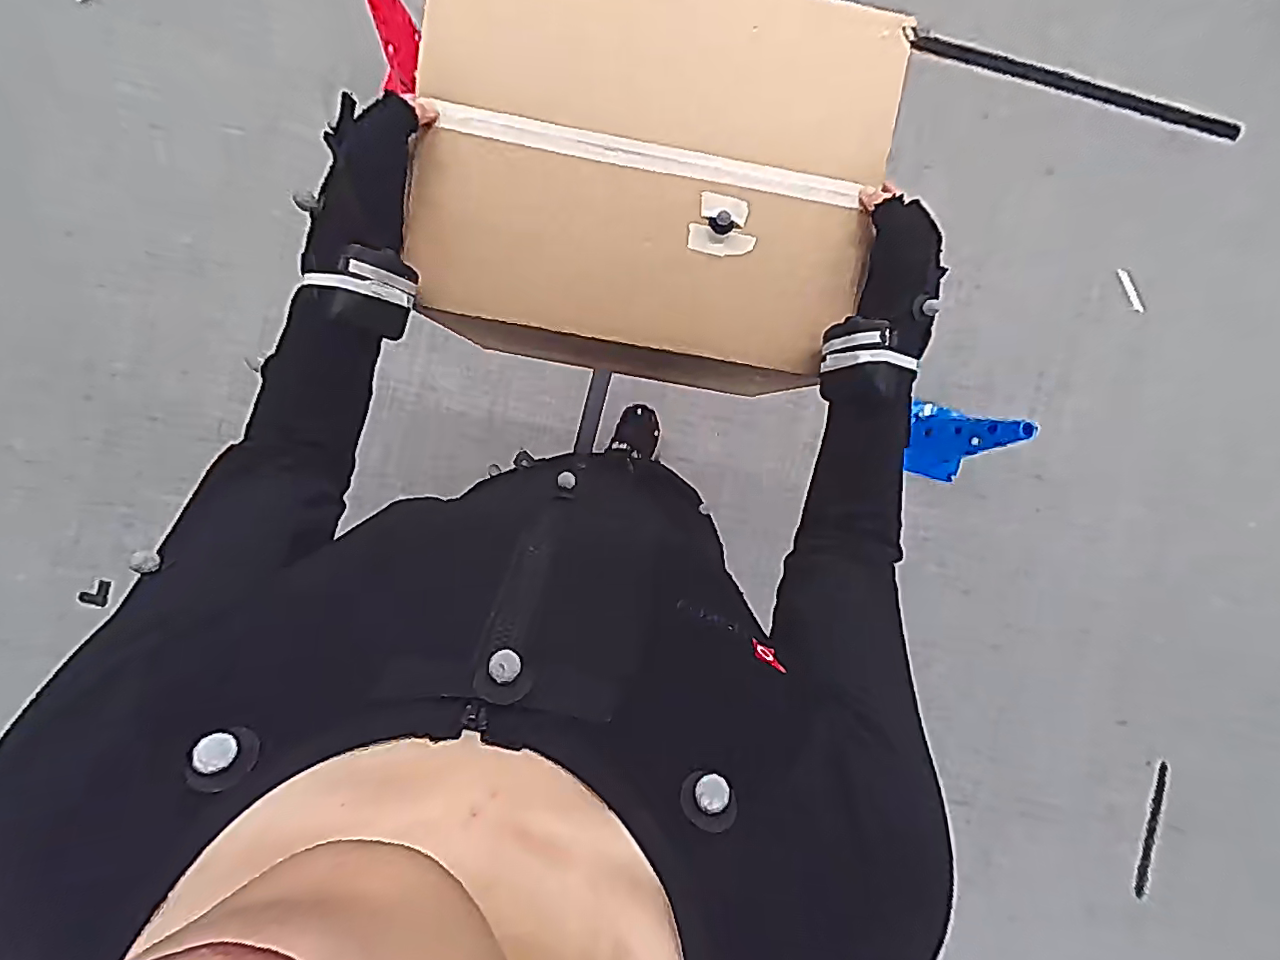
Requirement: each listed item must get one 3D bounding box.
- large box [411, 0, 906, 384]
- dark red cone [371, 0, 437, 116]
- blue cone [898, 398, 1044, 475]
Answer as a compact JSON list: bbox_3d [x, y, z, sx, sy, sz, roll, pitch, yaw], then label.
[{"bbox_3d":[0.006,-0.301,0.617,0.408,0.320,0.320,9,96,-5],"label":"large box"},{"bbox_3d":[-0.553,-1.046,1.231,0.201,0.394,0.202,19,90,-4],"label":"dark red cone"},{"bbox_3d":[0.832,-0.120,1.346,0.192,0.380,0.193,17,90,-4],"label":"blue cone"}]
